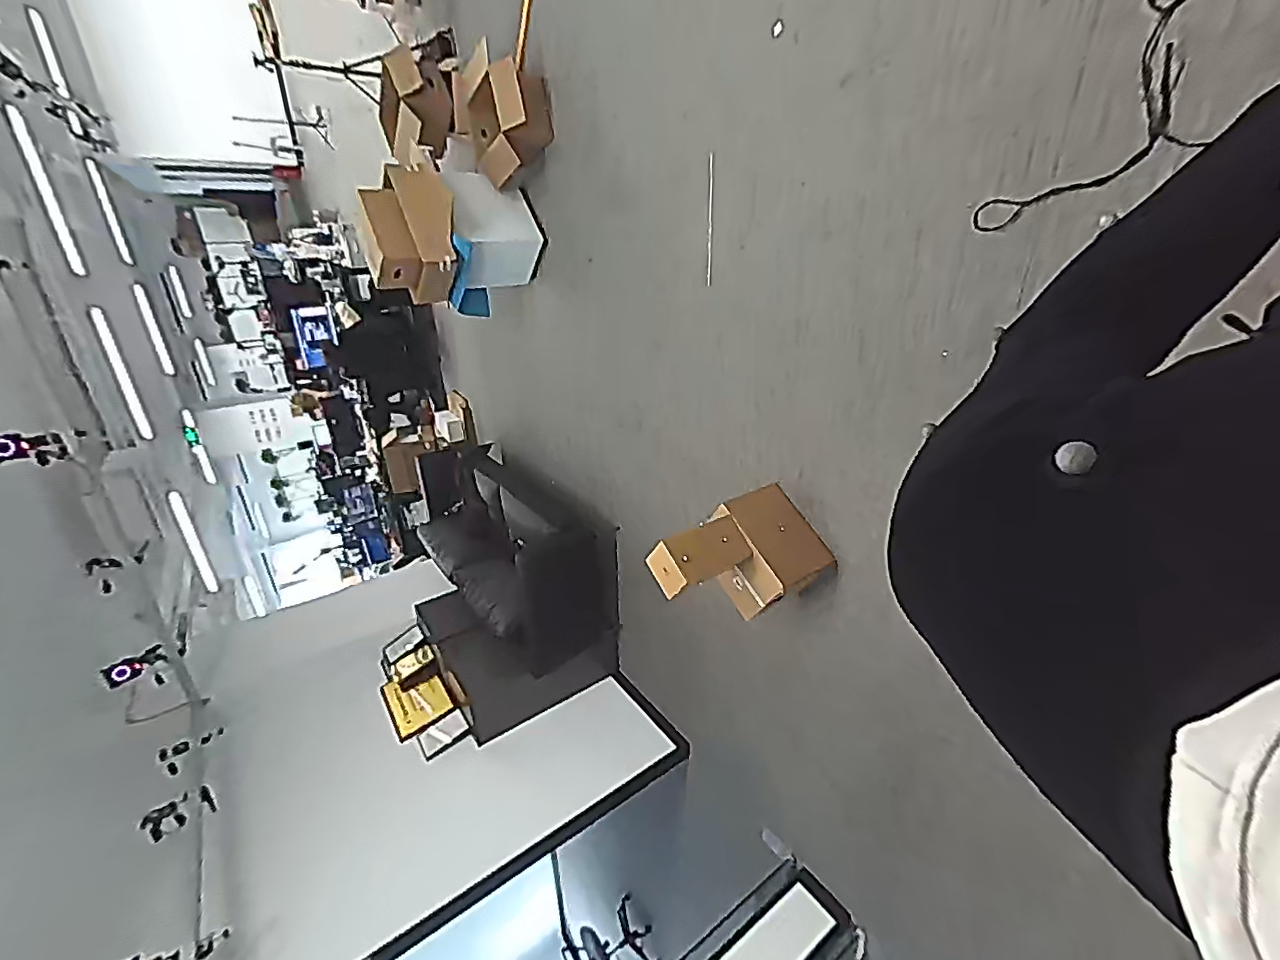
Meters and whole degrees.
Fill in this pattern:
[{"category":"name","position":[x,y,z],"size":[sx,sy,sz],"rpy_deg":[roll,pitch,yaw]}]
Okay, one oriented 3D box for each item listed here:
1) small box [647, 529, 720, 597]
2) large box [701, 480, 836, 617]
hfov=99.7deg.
[{"category":"small box","position":[0.161,0.297,1.990],"size":[0.179,0.176,0.168],"rpy_deg":[57,144,20]},{"category":"large box","position":[0.507,0.273,2.223],"size":[0.408,0.320,0.320],"rpy_deg":[55,146,23]}]
